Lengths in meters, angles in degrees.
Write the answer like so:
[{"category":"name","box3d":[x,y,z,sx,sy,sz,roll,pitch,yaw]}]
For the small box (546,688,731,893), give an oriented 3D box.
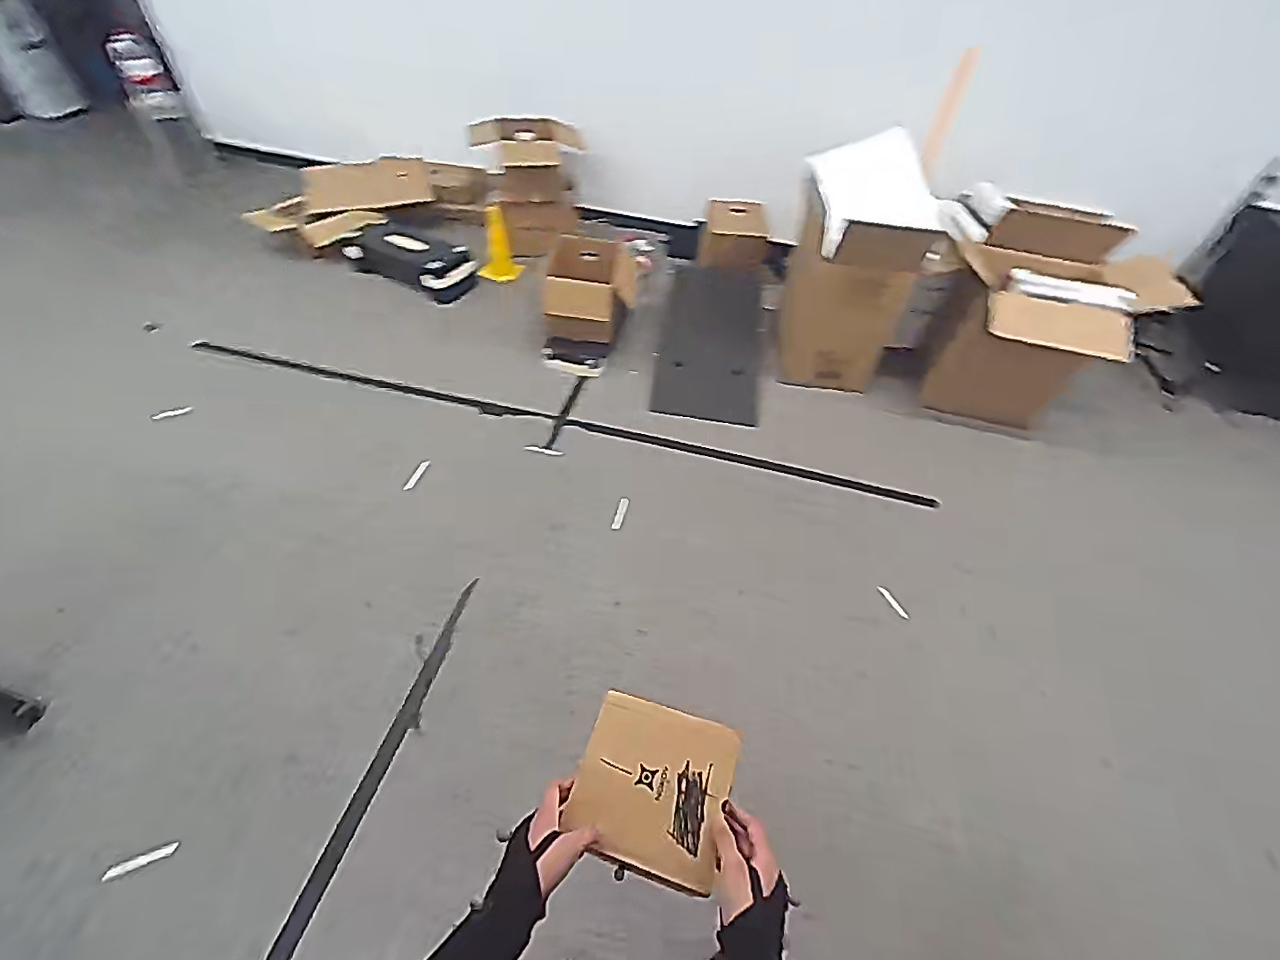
[{"category":"small box","box3d":[0.001,0.392,0.686,0.179,0.176,0.168,15,54,9]}]
